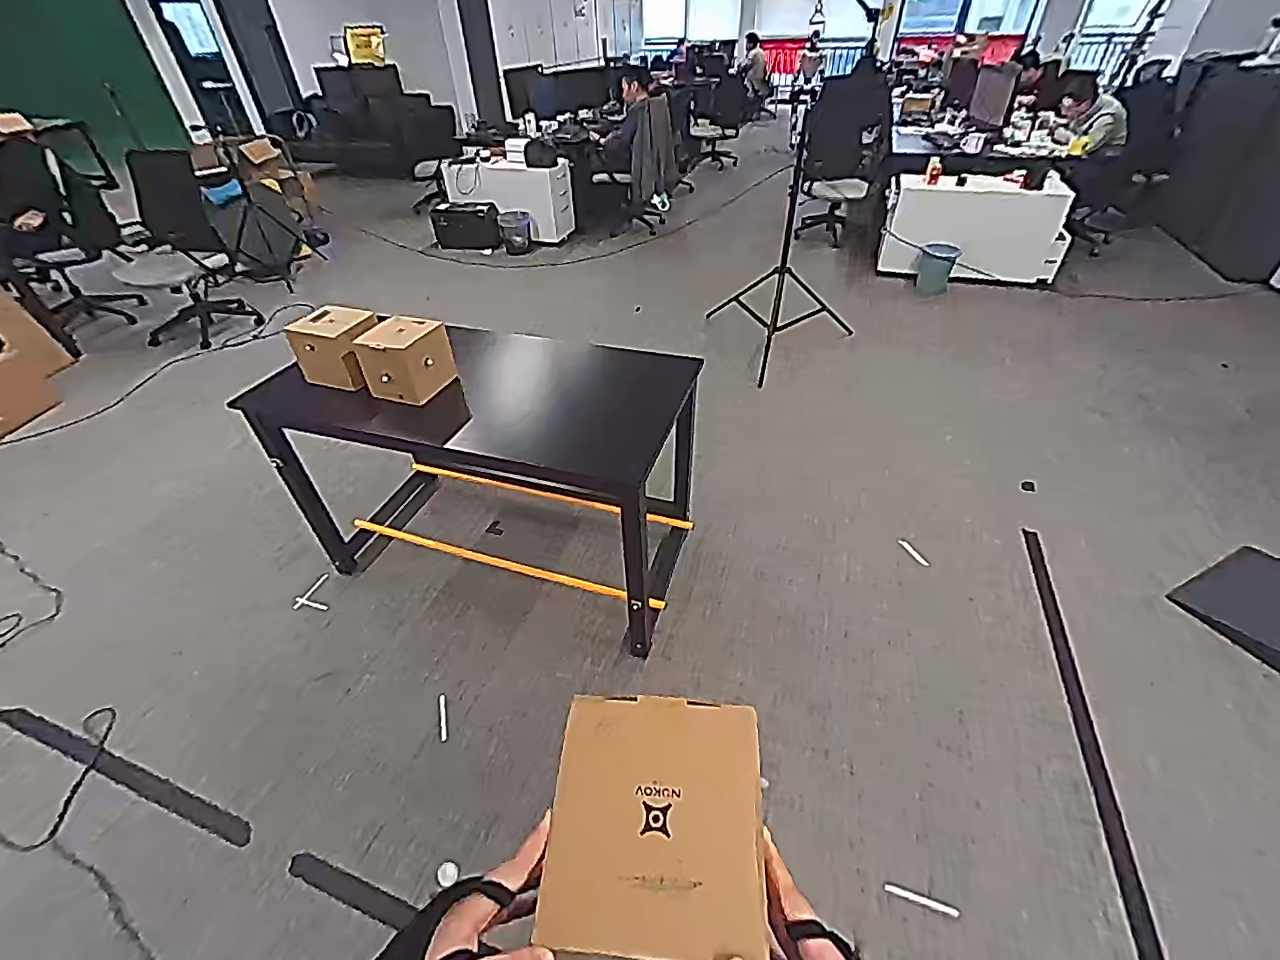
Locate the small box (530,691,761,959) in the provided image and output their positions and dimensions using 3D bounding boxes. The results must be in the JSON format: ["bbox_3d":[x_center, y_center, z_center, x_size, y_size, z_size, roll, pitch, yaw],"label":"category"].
[{"bbox_3d":[0.014,0.312,0.488,0.168,0.176,0.179,1,50,6],"label":"small box"}]

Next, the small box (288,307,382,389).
[{"bbox_3d":[-0.850,-0.378,1.552,0.179,0.176,0.168,12,43,14],"label":"small box"}]

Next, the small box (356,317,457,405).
[{"bbox_3d":[-0.631,-0.327,1.488,0.168,0.176,0.179,12,43,16],"label":"small box"}]
